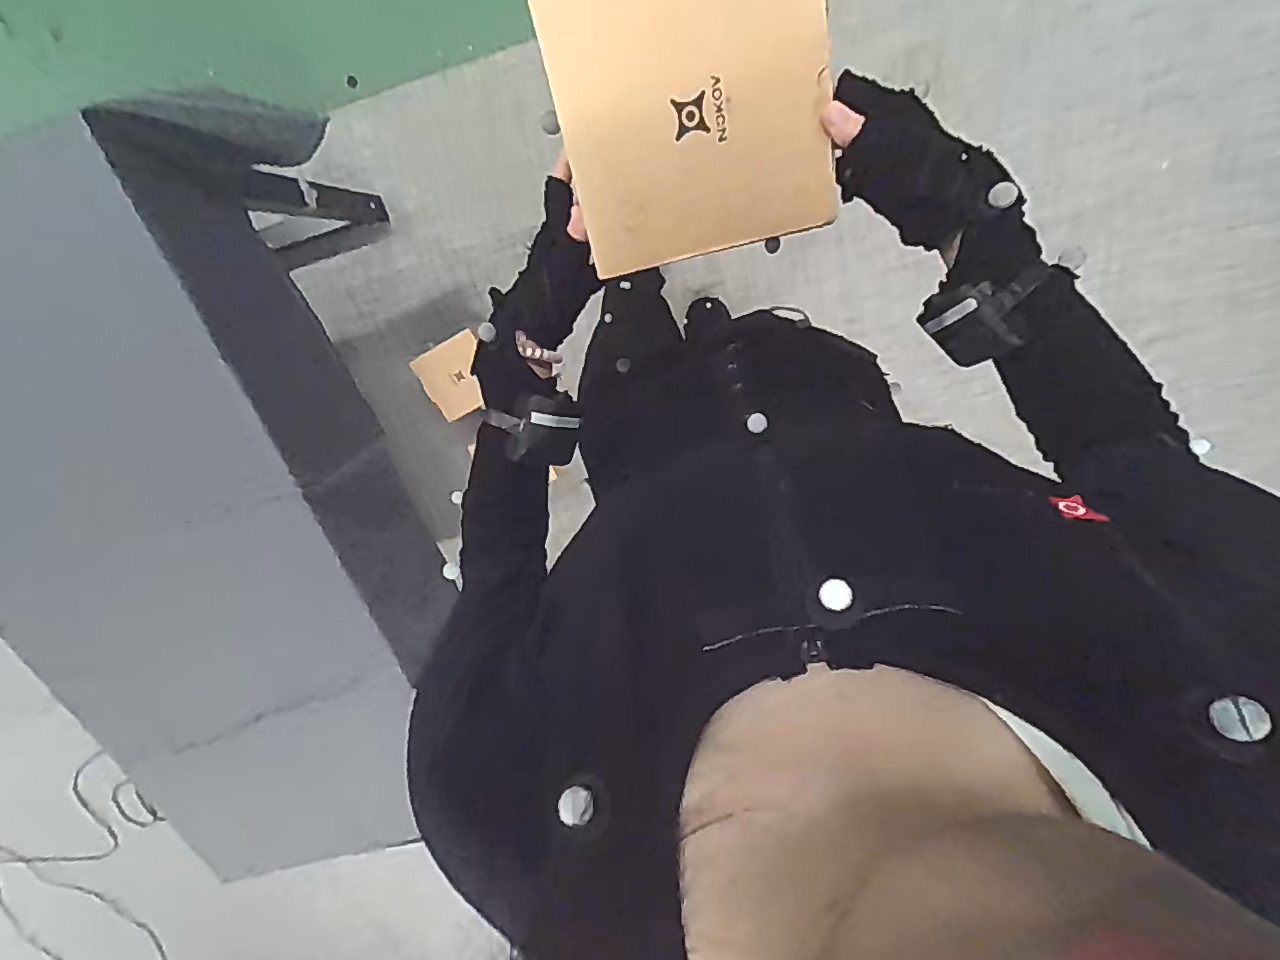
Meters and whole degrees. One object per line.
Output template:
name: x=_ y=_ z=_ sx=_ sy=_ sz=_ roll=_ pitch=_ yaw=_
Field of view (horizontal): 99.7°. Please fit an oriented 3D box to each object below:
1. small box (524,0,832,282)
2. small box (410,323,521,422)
small box: x=0.028 y=-0.264 z=0.413 sx=0.179 sy=0.176 sz=0.168 roll=-13 pitch=120 yaw=2
small box: x=-0.422 y=-0.270 z=1.340 sx=0.179 sy=0.176 sz=0.168 roll=-25 pitch=110 yaw=12
